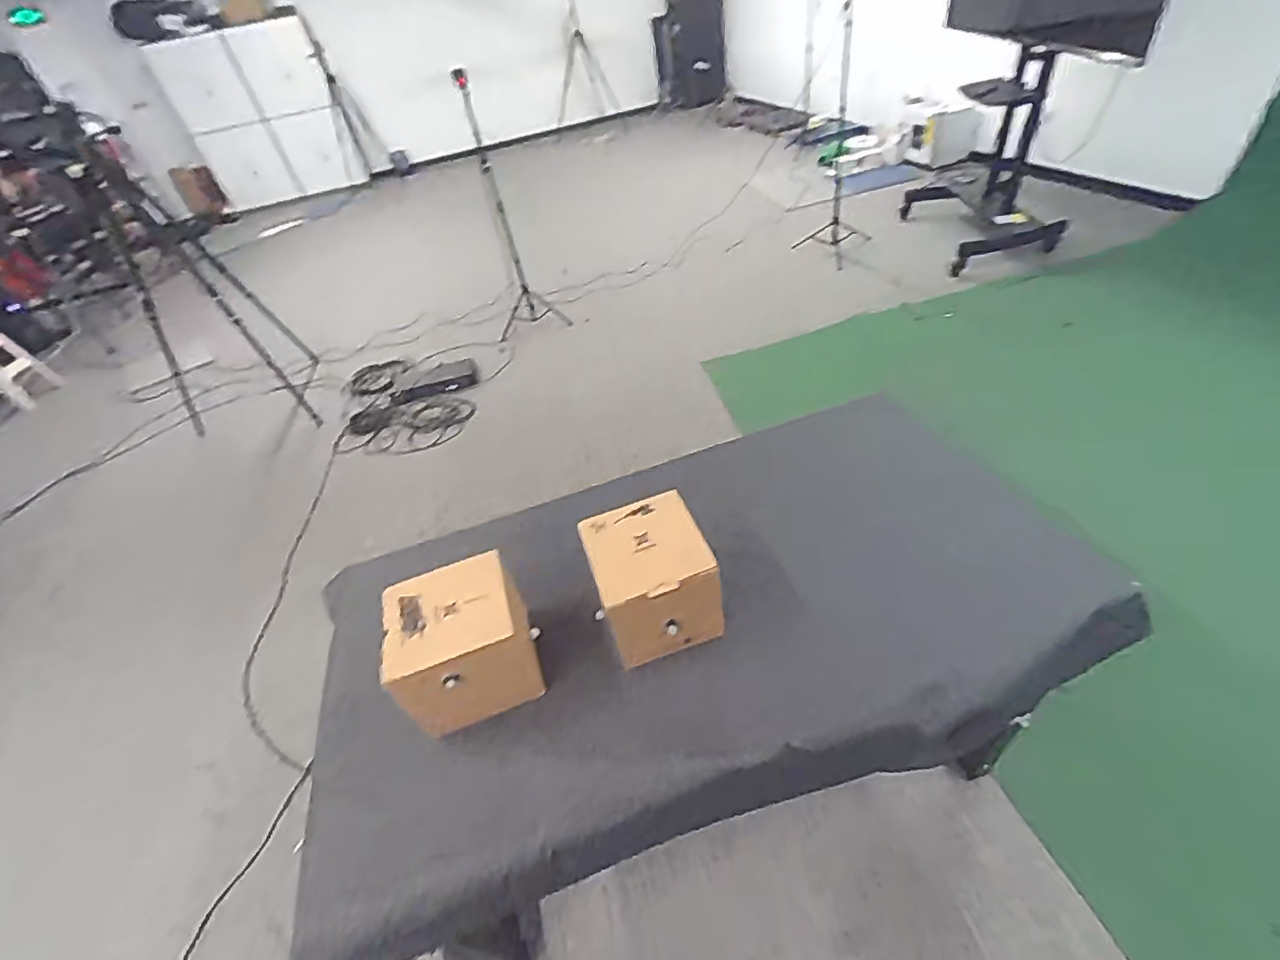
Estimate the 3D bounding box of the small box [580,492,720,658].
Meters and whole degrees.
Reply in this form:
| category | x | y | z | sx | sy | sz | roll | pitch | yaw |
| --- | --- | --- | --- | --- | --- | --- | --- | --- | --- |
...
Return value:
| category | x | y | z | sx | sy | sz | roll | pitch | yaw |
| --- | --- | --- | --- | --- | --- | --- | --- | --- | --- |
| small box | 0.019 | 0.154 | 0.849 | 0.168 | 0.176 | 0.179 | -18 | 43 | -7 |

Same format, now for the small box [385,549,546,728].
| category | x | y | z | sx | sy | sz | roll | pitch | yaw |
| --- | --- | --- | --- | --- | --- | --- | --- | --- | --- |
| small box | -0.259 | 0.241 | 0.815 | 0.179 | 0.176 | 0.168 | -19 | 43 | -9 |
